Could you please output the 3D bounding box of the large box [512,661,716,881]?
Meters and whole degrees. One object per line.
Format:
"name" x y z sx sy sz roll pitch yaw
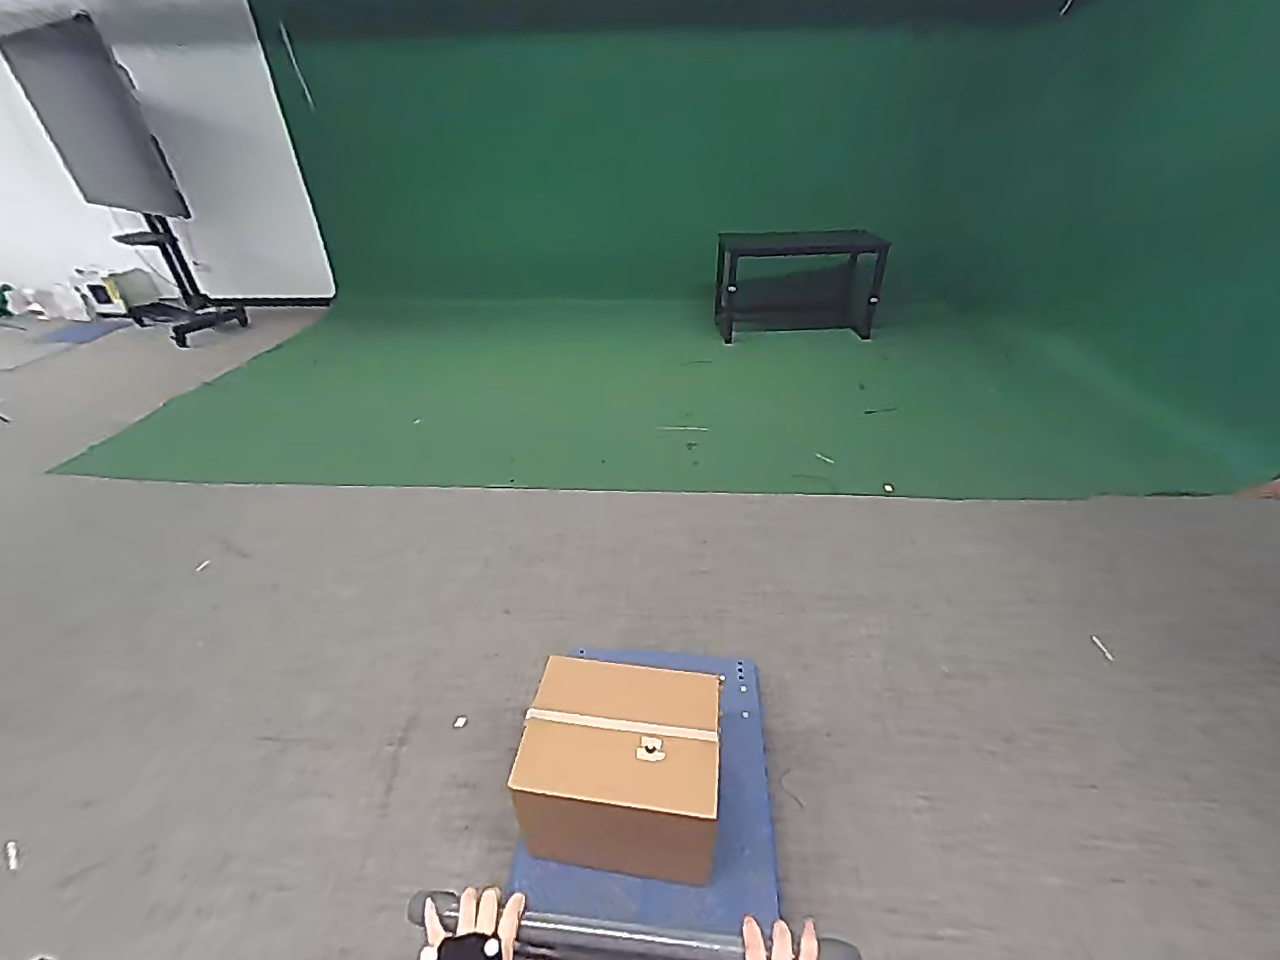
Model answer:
"large box" -0.043 0.657 1.239 0.408 0.320 0.320 5 34 6
